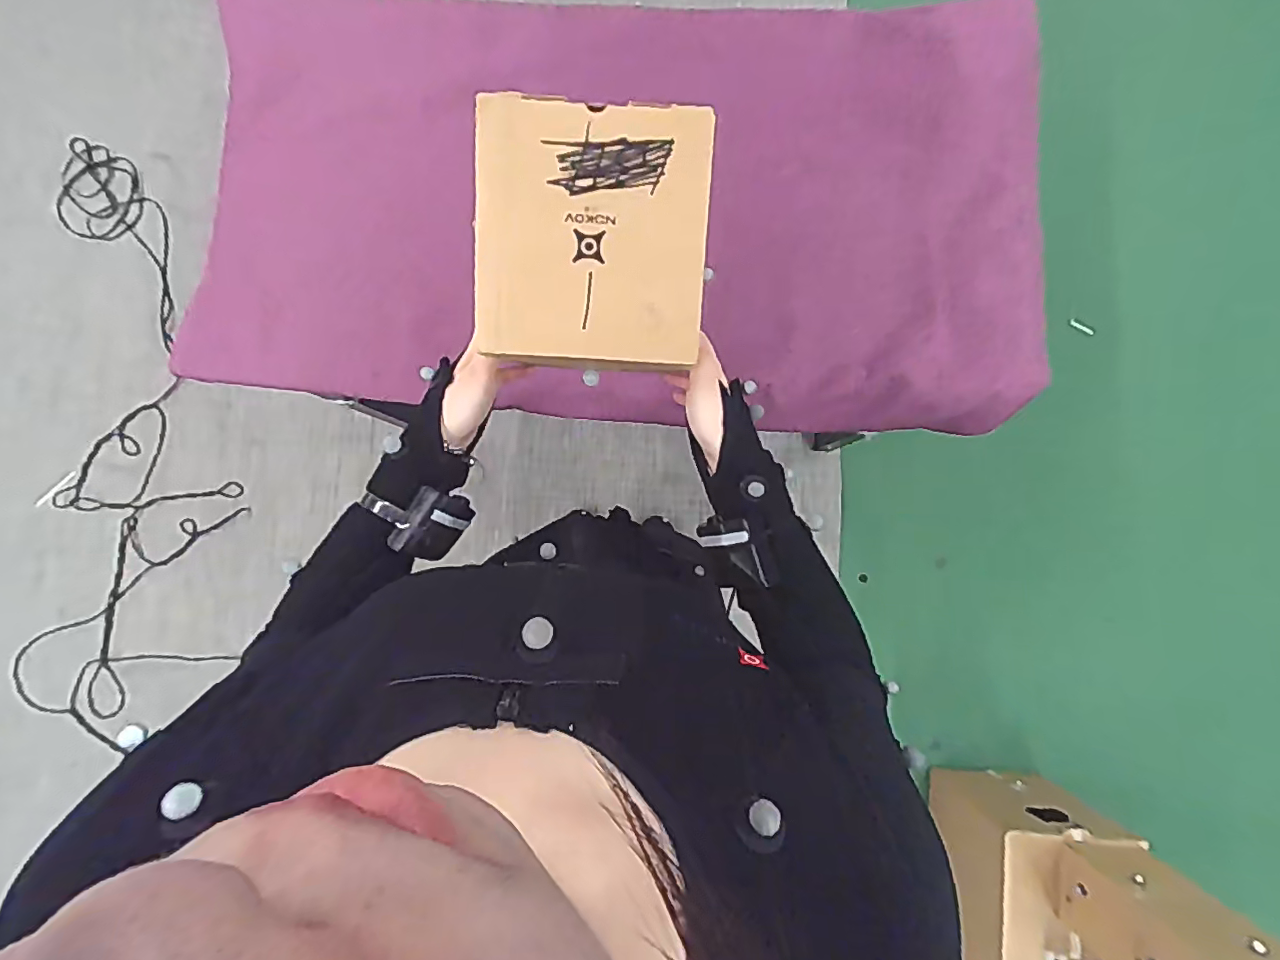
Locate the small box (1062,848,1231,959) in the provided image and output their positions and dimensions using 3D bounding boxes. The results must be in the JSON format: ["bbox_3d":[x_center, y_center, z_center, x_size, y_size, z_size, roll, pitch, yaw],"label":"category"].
[{"bbox_3d":[0.979,0.856,1.057,0.179,0.176,0.168,4,86,0],"label":"small box"}]

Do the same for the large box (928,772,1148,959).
[{"bbox_3d":[0.921,0.975,1.291,0.320,0.320,0.408,4,87,1],"label":"large box"}]

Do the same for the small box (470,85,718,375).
[{"bbox_3d":[-0.035,-0.184,0.451,0.168,0.176,0.179,3,99,0],"label":"small box"}]
